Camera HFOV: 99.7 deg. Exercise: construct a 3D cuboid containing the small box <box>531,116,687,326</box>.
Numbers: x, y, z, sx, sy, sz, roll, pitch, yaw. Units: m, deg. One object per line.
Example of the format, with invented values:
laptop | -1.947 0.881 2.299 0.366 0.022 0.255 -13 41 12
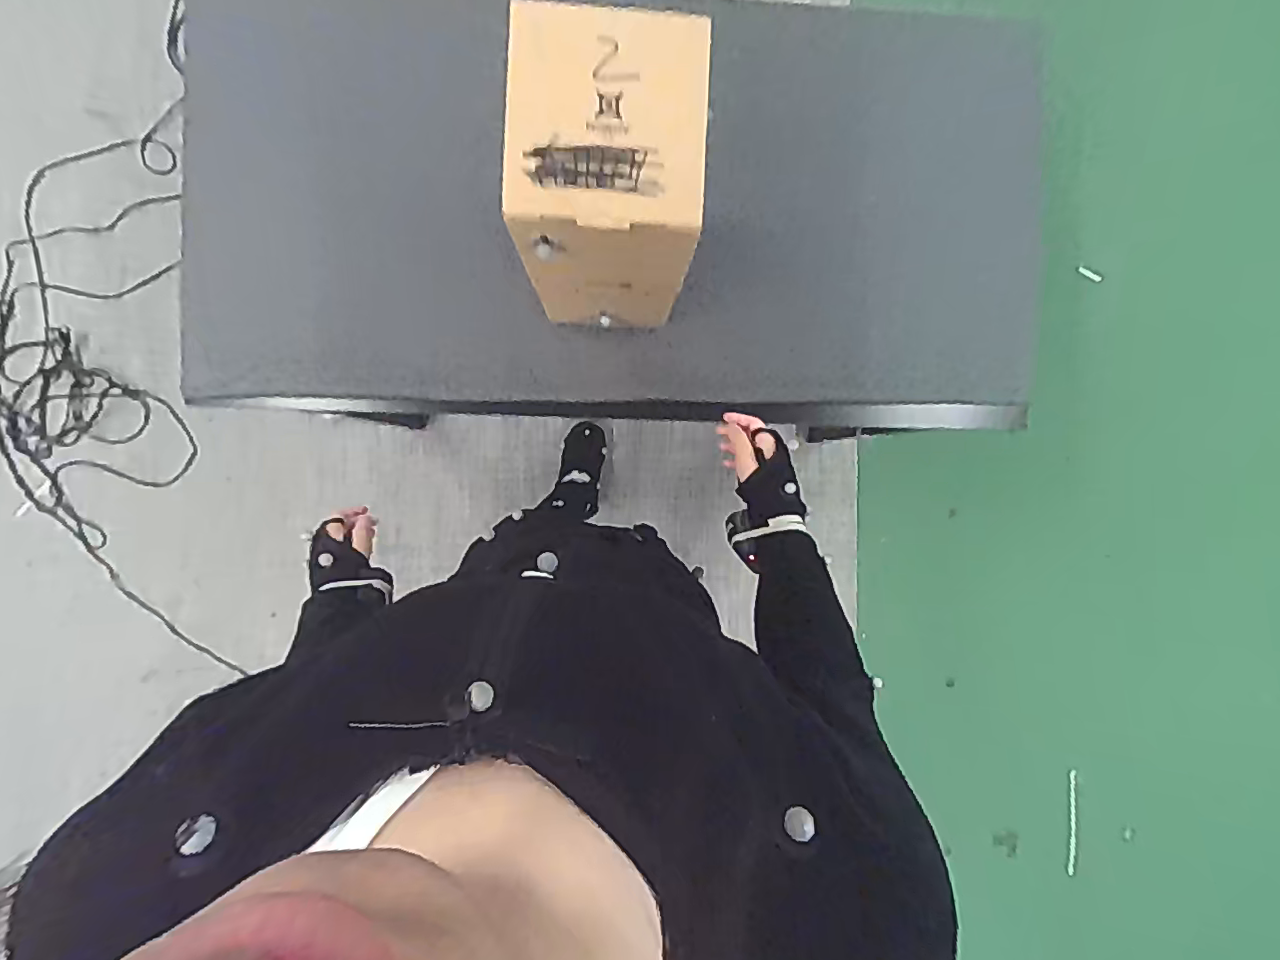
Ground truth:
small box | -0.038 -0.306 0.671 0.168 0.176 0.179 2 90 -3
